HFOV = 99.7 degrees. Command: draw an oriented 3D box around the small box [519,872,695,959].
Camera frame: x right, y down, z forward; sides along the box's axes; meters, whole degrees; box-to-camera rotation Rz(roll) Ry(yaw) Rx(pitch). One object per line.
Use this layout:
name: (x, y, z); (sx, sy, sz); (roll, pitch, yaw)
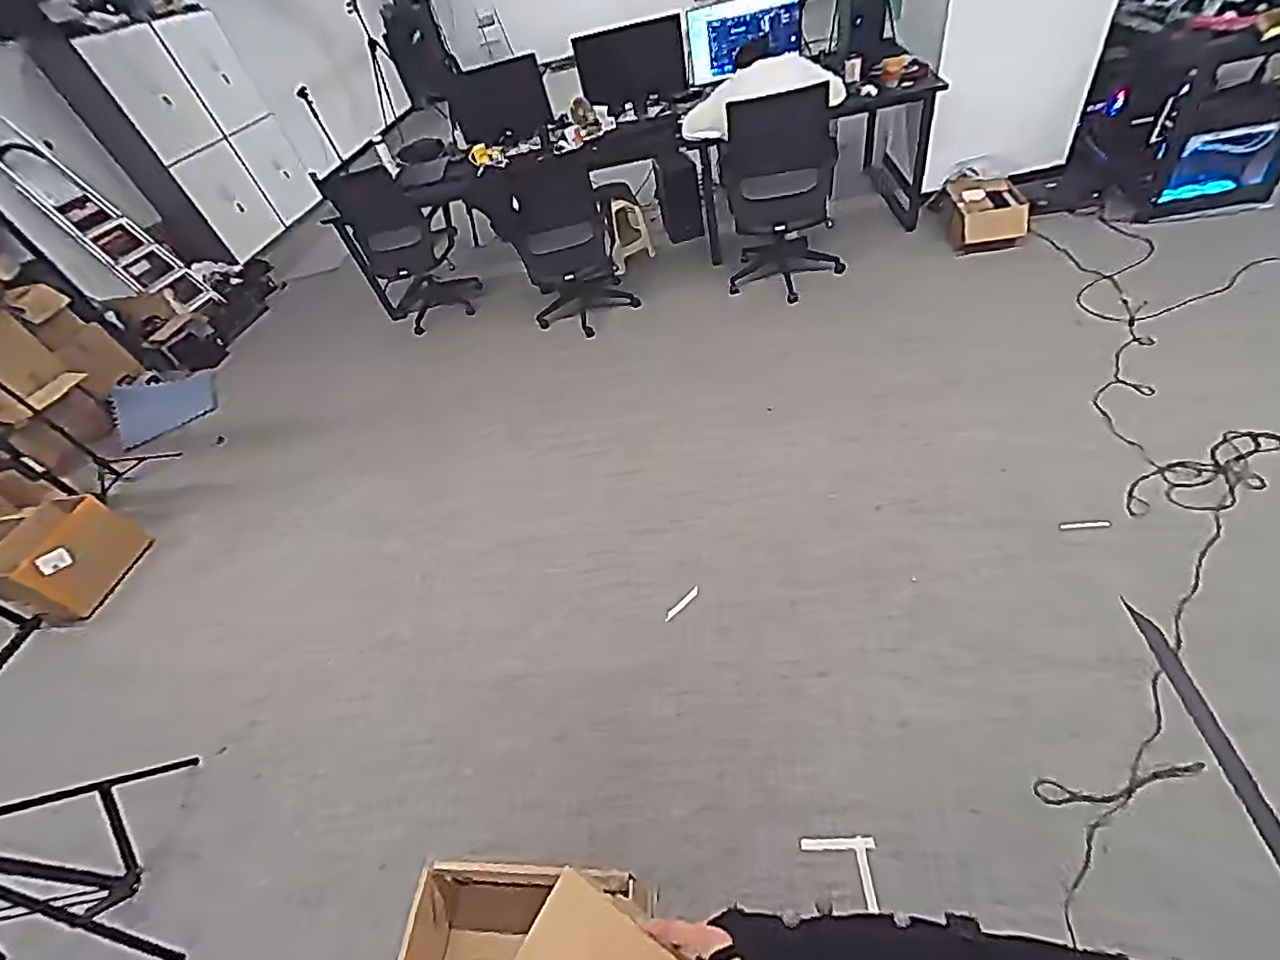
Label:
small box: (-0.027, 0.570, 0.572); (0.179, 0.176, 0.168); (7, 50, 40)
